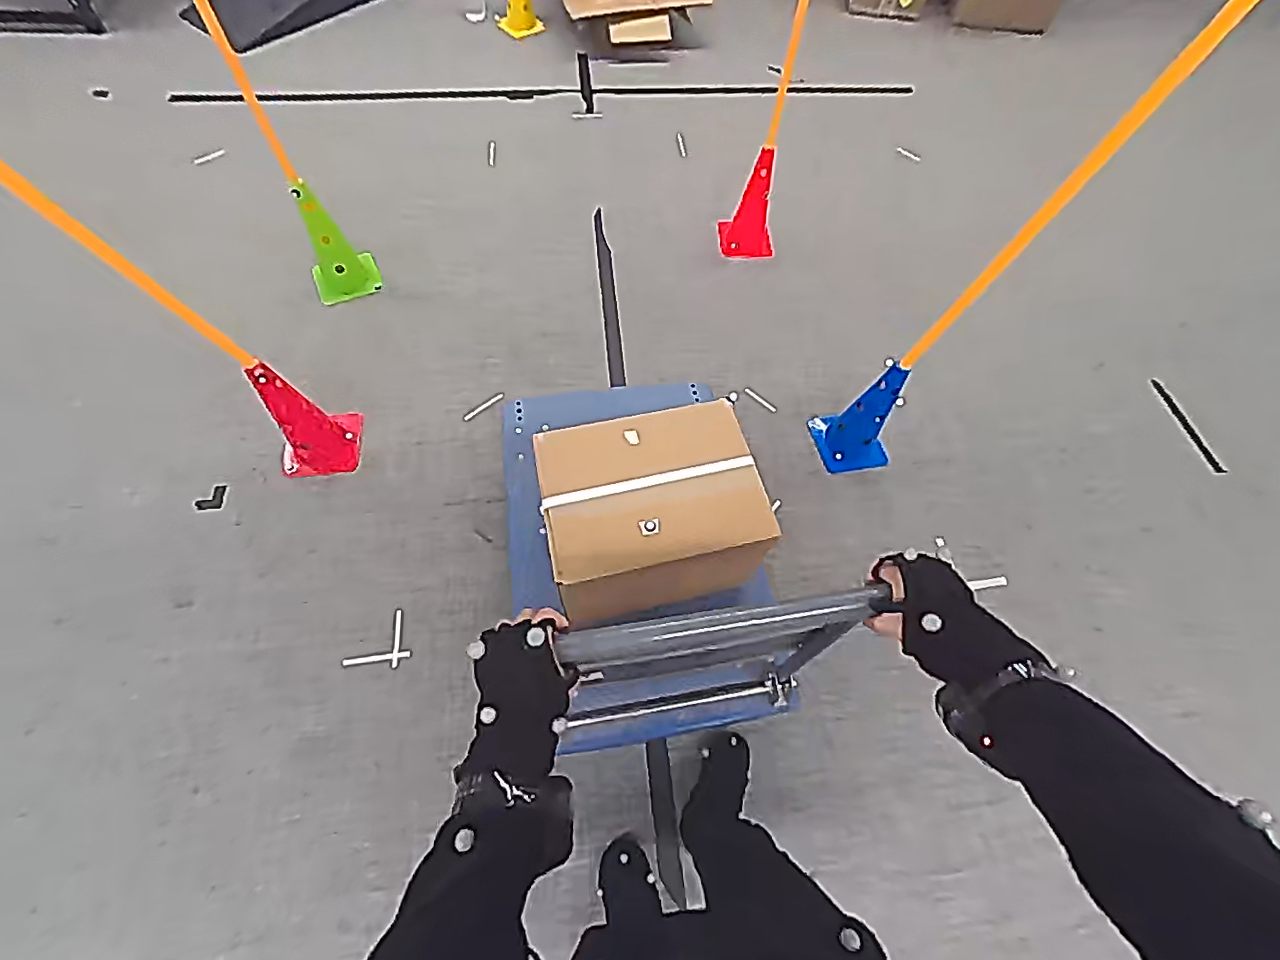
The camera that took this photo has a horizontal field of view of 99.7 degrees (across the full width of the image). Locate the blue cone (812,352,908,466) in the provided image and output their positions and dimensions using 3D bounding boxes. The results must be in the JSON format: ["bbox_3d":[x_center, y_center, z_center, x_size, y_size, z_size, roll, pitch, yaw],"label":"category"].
[{"bbox_3d":[0.645,-0.209,1.507,0.193,0.380,0.192,-8,62,-8],"label":"blue cone"}]

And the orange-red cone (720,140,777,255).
[{"bbox_3d":[0.414,-1.001,1.893,0.199,0.360,0.198,2,63,-4],"label":"orange-red cone"}]
